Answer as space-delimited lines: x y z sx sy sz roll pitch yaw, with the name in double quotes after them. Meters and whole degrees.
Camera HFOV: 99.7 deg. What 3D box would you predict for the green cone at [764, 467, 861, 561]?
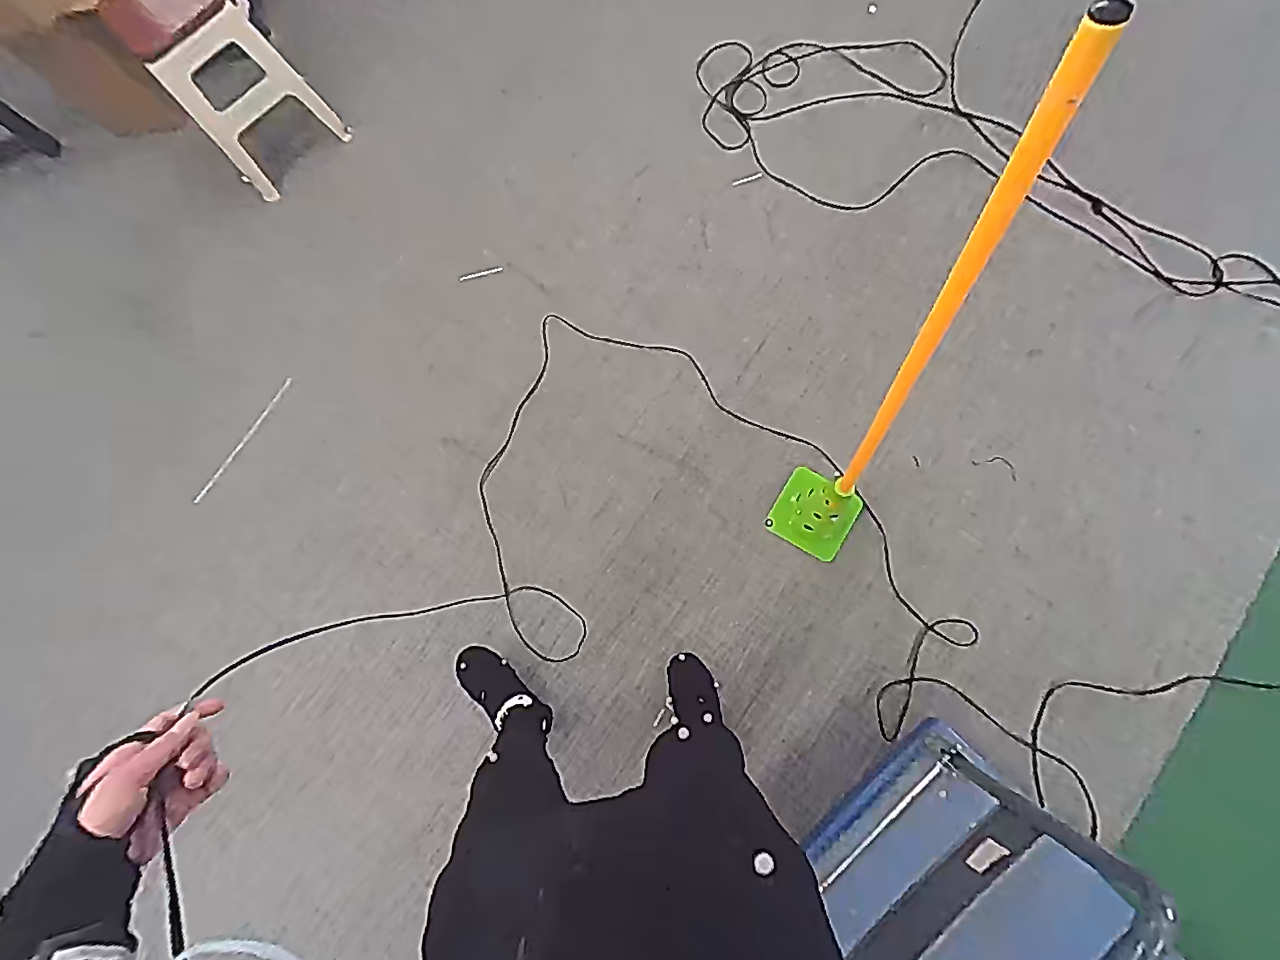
0.439 0.049 1.259 0.200 0.368 0.202 30 82 12 "green cone"
